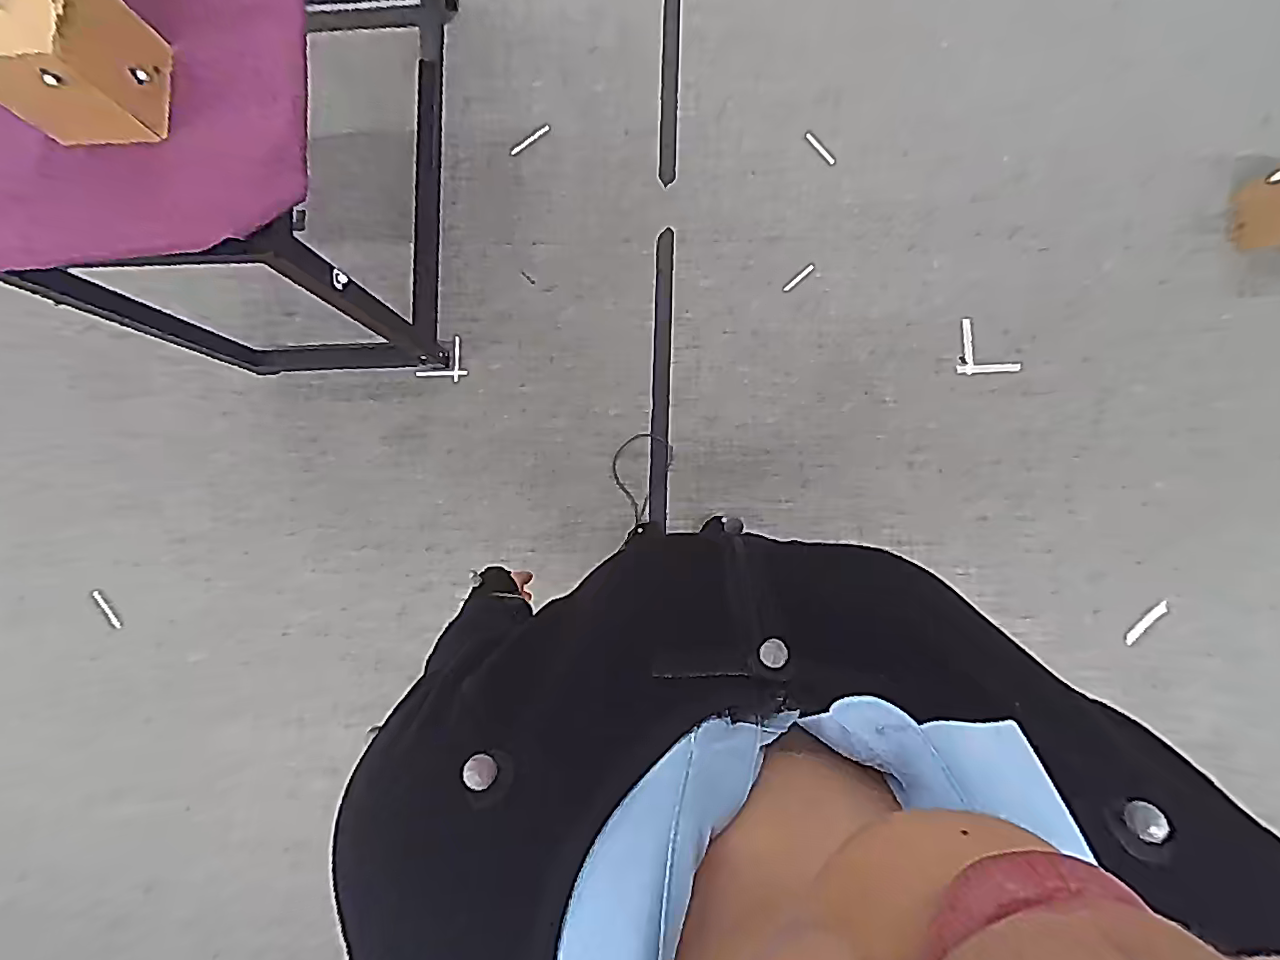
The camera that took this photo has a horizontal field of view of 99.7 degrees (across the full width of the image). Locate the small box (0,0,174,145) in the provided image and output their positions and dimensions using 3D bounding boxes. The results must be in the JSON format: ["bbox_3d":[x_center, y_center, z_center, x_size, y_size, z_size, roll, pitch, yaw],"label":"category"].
[{"bbox_3d":[-0.859,-0.633,0.808,0.179,0.176,0.168,-2,85,2],"label":"small box"}]
